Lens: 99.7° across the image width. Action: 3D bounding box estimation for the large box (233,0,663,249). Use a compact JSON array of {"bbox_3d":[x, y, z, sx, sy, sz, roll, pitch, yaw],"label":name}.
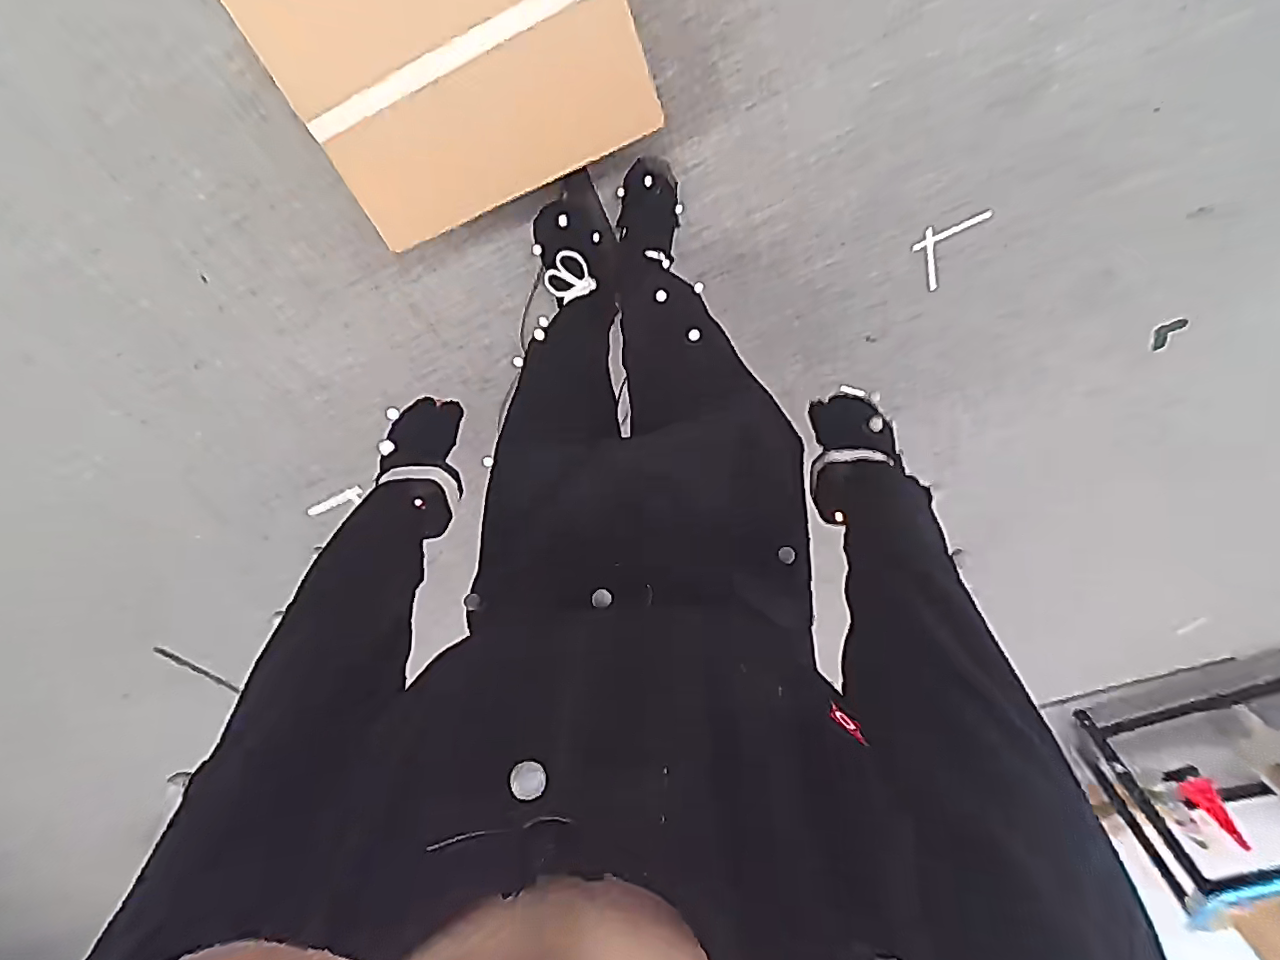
[{"bbox_3d":[-0.218,-0.585,0.740,0.408,0.320,0.320,-19,130,11],"label":"large box"}]
